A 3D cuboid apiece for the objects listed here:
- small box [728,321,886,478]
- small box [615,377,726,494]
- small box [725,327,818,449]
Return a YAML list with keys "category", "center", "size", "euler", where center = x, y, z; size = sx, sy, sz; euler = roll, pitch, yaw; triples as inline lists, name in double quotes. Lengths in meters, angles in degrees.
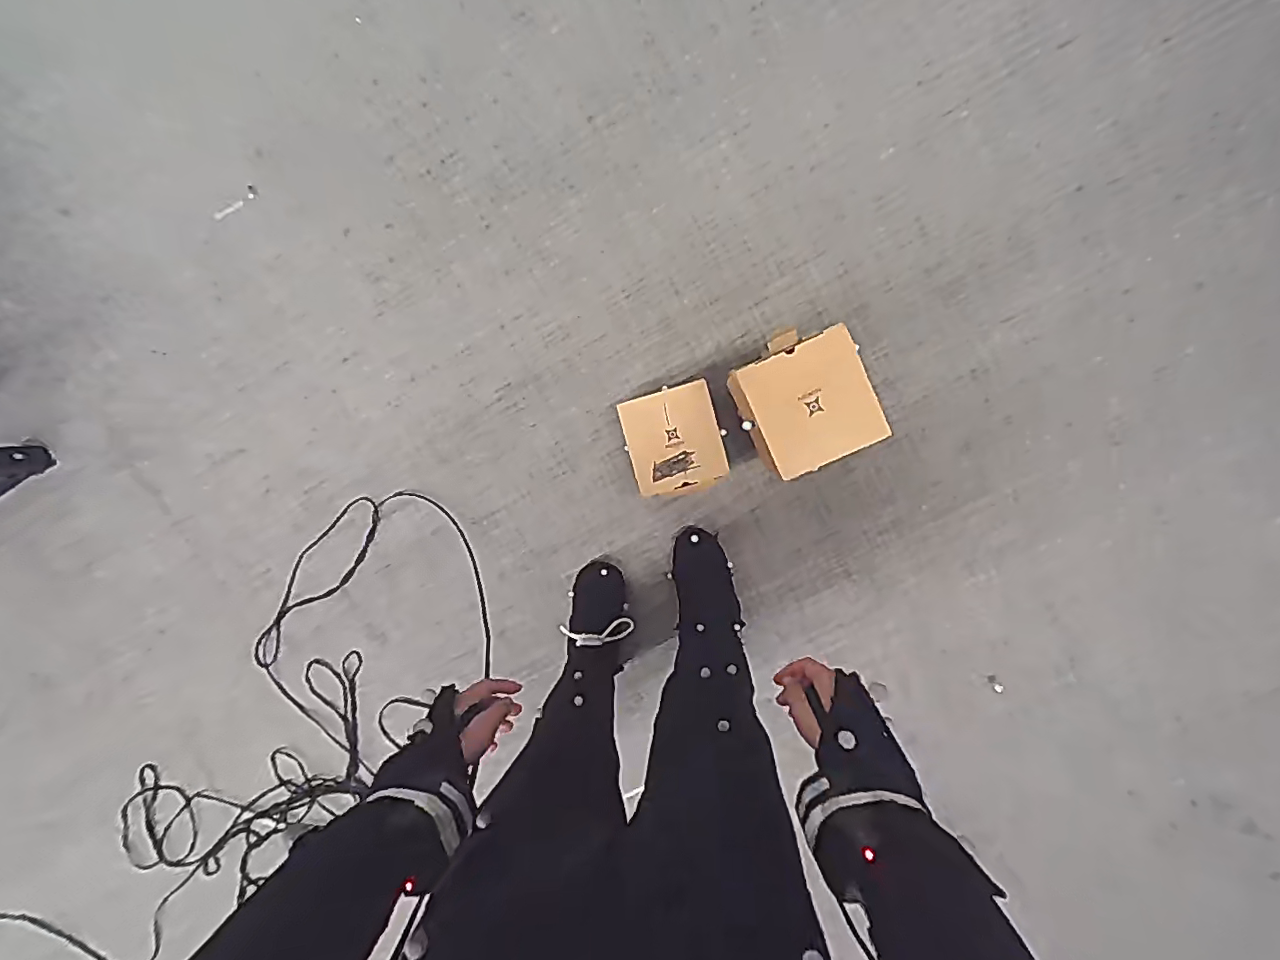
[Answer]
- category: "small box"
  center: [0.248, -0.121, 0.844]
  size: [0.168, 0.176, 0.179]
  euler: [-24, 93, 7]
- category: "small box"
  center: [0.062, -0.086, 1.028]
  size: [0.168, 0.176, 0.179]
  euler: [-15, 93, 6]
- category: "small box"
  center: [0.267, -0.155, 1.003]
  size: [0.168, 0.176, 0.179]
  euler: [-24, 92, 7]
